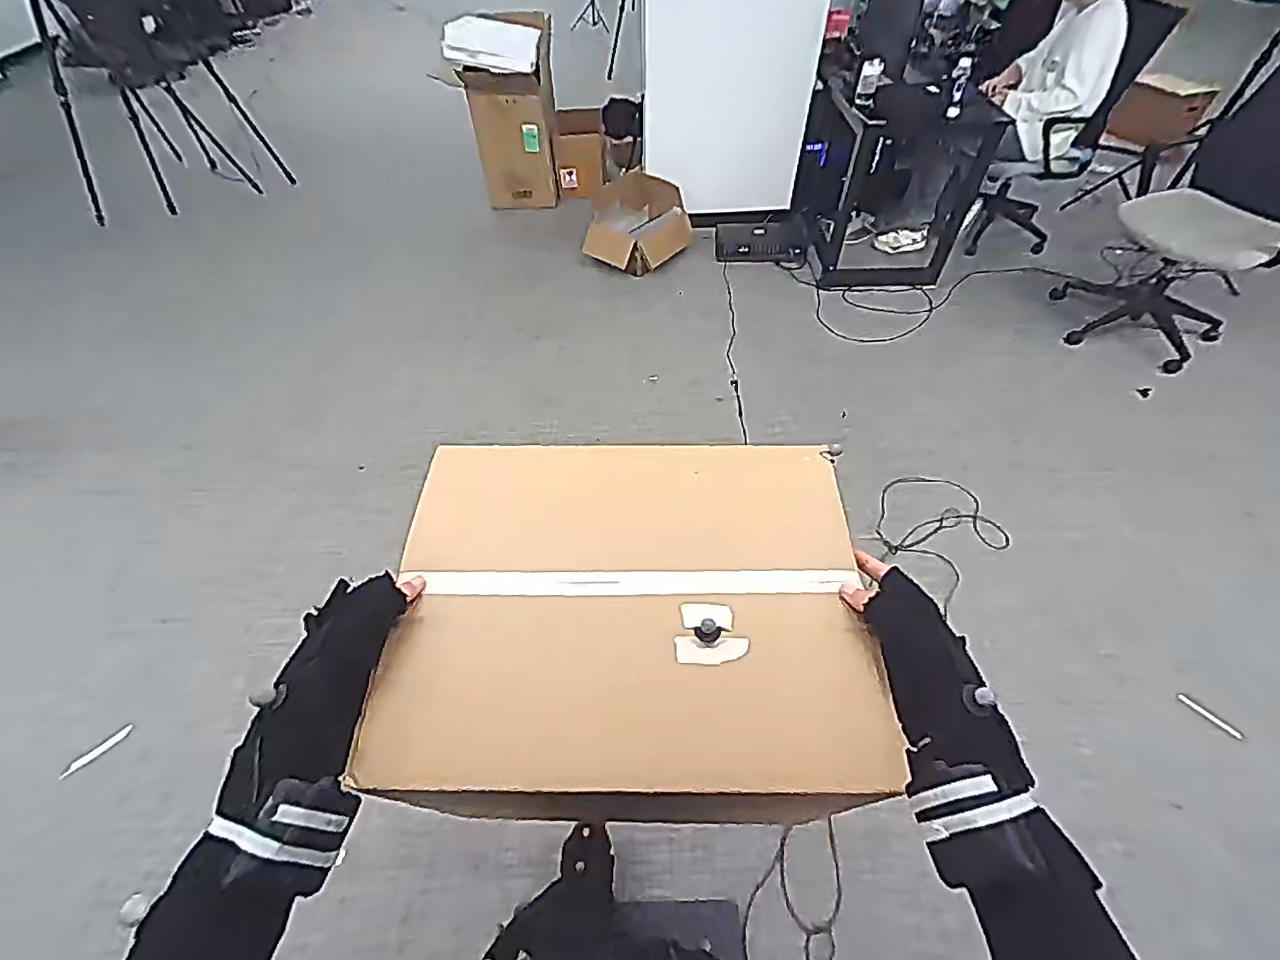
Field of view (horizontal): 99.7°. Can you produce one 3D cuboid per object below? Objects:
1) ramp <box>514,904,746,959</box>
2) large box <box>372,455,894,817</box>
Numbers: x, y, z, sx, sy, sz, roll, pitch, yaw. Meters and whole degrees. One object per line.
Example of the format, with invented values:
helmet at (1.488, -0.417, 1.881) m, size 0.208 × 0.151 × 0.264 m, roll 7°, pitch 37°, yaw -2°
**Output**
ramp at (-0.019, 1.270, 0.818) m, size 0.509 × 0.206 × 0.991 m, roll -4°, pitch 50°, yaw 0°
large box at (-0.006, 0.185, 0.611) m, size 0.408 × 0.320 × 0.320 m, roll 0°, pitch 55°, yaw 1°
